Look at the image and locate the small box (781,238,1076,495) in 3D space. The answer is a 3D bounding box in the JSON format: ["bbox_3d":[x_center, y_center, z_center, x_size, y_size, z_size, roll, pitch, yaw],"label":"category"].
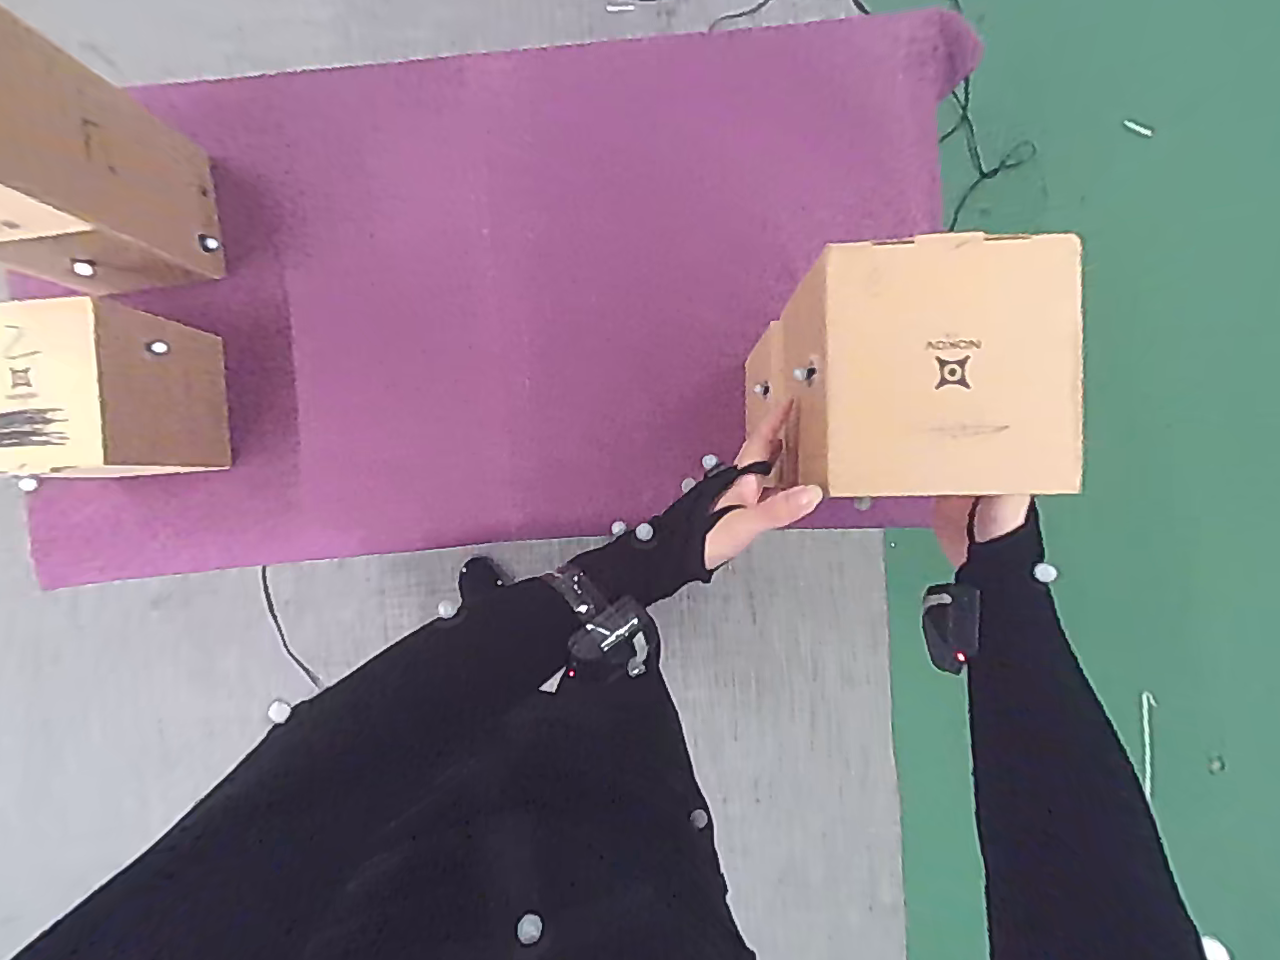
[{"bbox_3d":[0.215,-0.078,0.450,0.168,0.176,0.179,0,91,4],"label":"small box"}]

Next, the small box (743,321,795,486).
[{"bbox_3d":[0.219,-0.076,0.613,0.179,0.176,0.168,0,90,2],"label":"small box"}]

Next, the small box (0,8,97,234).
[{"bbox_3d":[-0.629,-0.327,0.464,0.168,0.176,0.179,-7,90,1],"label":"small box"}]
